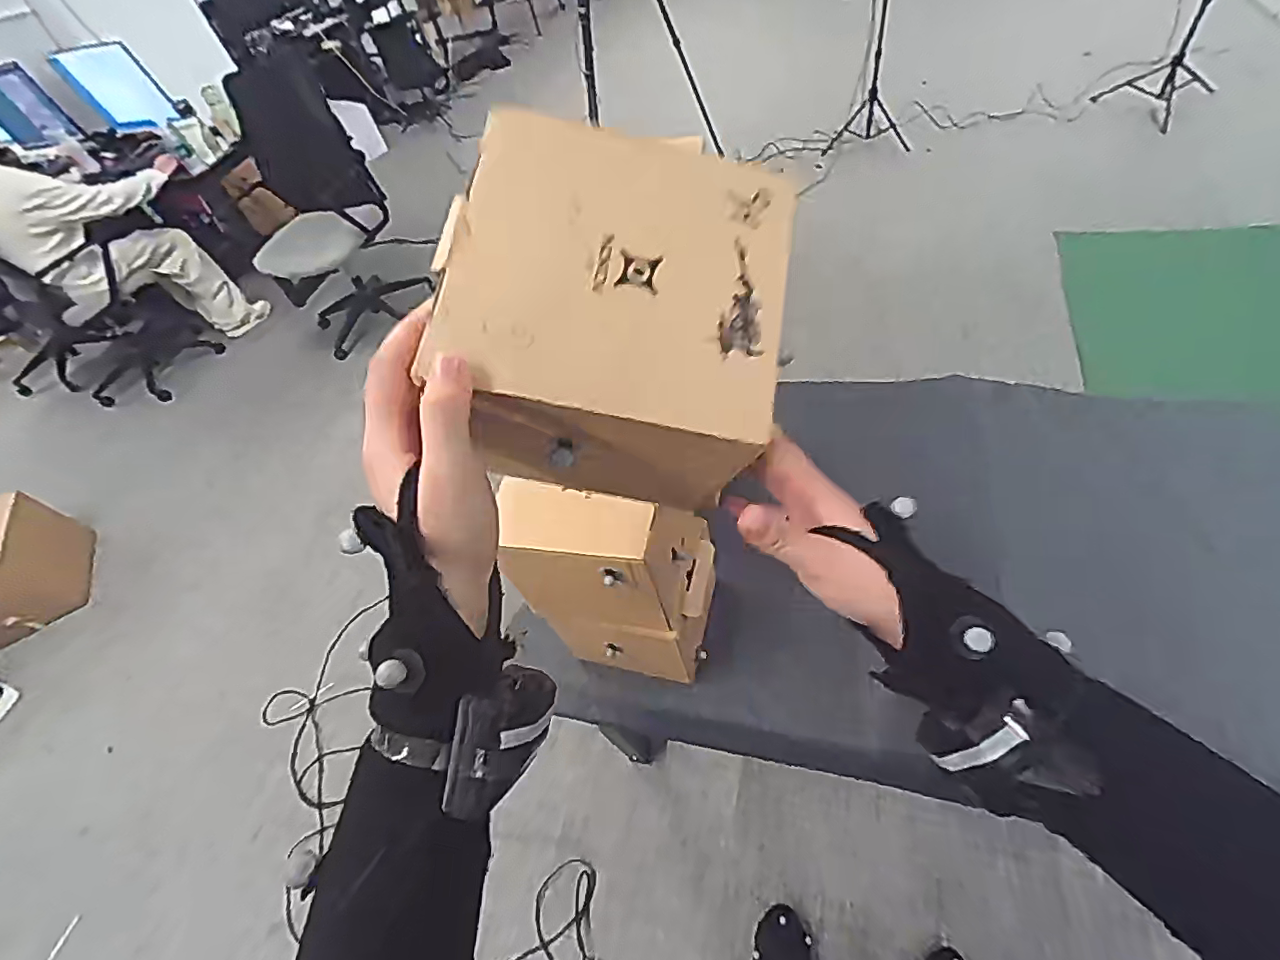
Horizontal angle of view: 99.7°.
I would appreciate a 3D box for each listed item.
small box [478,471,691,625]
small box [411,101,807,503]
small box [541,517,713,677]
[{"bbox_3d":[-0.047,0.053,0.617,0.179,0.176,0.168,2,54,16],"label":"small box"},{"bbox_3d":[-0.014,-0.089,0.348,0.179,0.176,0.168,11,76,-3],"label":"small box"},{"bbox_3d":[-0.003,0.153,0.737,0.179,0.176,0.168,6,55,18],"label":"small box"}]
